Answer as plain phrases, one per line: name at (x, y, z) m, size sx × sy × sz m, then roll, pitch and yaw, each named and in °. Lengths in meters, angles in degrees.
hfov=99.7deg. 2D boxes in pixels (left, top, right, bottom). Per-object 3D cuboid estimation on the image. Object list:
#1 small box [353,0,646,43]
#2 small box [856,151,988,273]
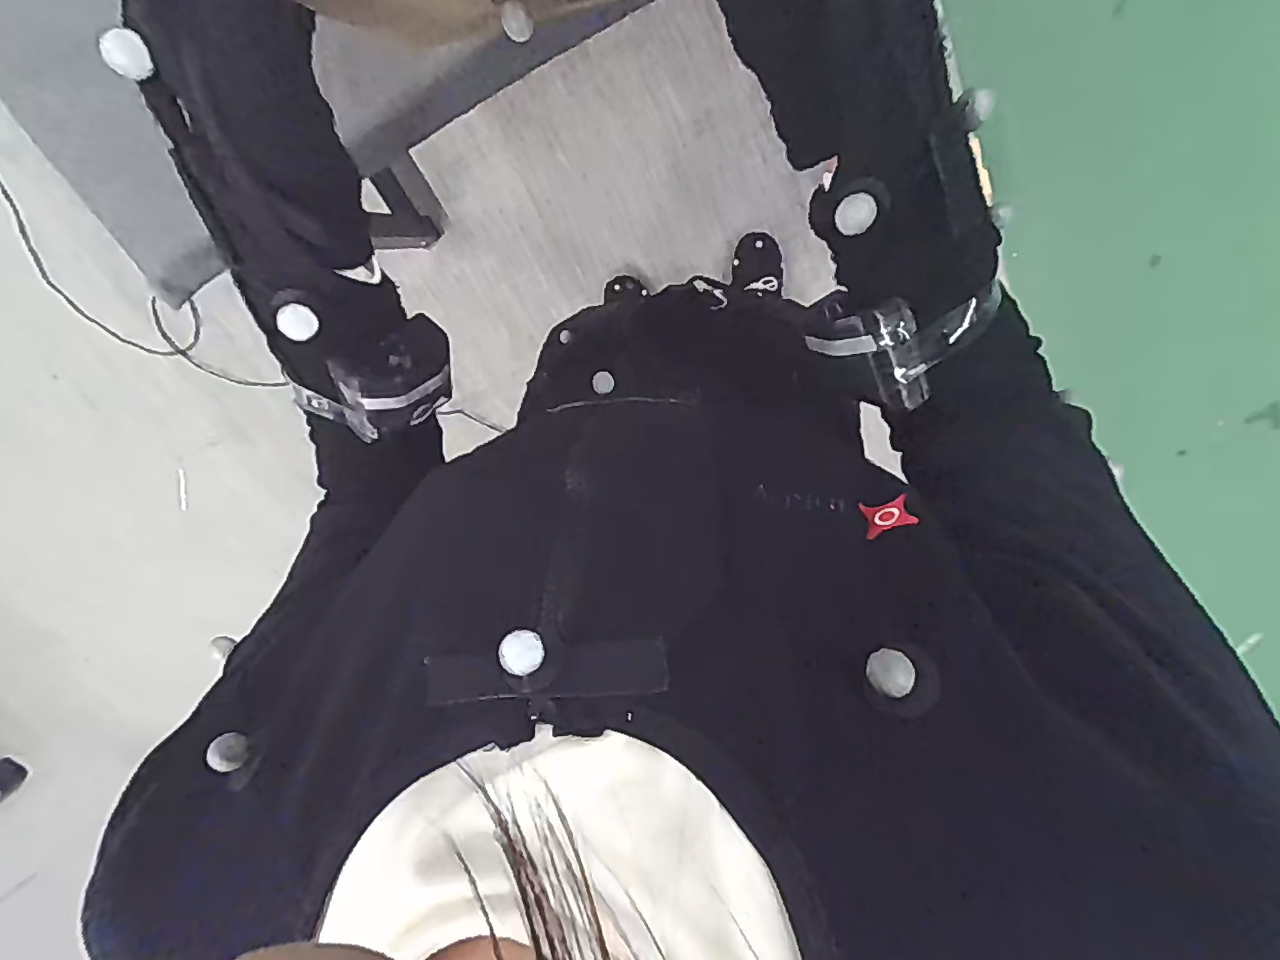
small box at (-0.068, -0.285, 0.180) m, size 0.168 × 0.176 × 0.179 m, roll -6°, pitch 119°, yaw 8°
small box at (0.576, -0.548, 1.121) m, size 0.179 × 0.176 × 0.168 m, roll -21°, pitch 109°, yaw 14°
